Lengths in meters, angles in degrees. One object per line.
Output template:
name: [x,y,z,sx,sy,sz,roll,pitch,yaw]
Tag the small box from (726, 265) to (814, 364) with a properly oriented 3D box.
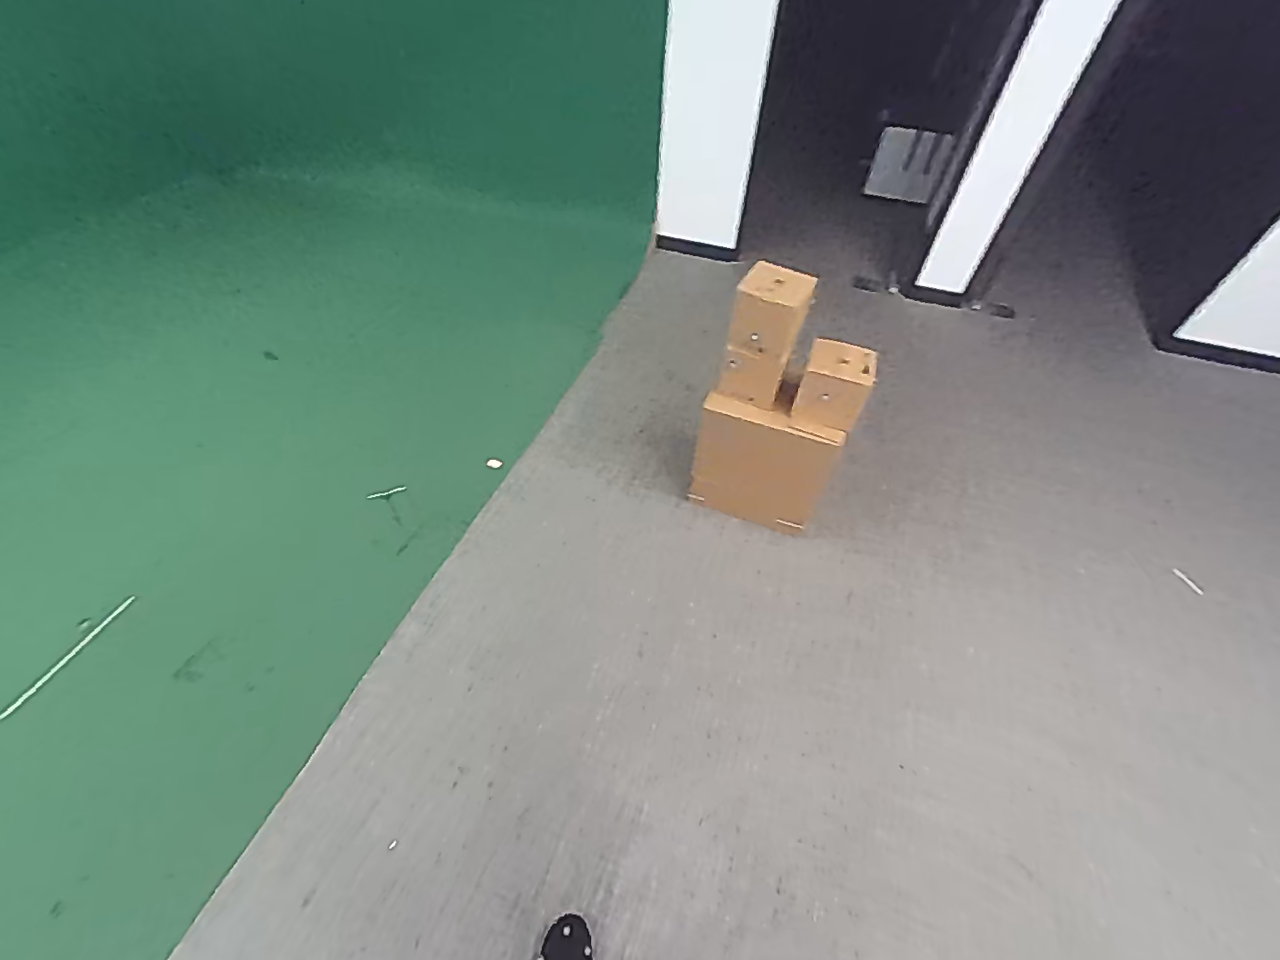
small box: [0.343,-0.443,1.454,0.168,0.176,0.179,24,53,17]
